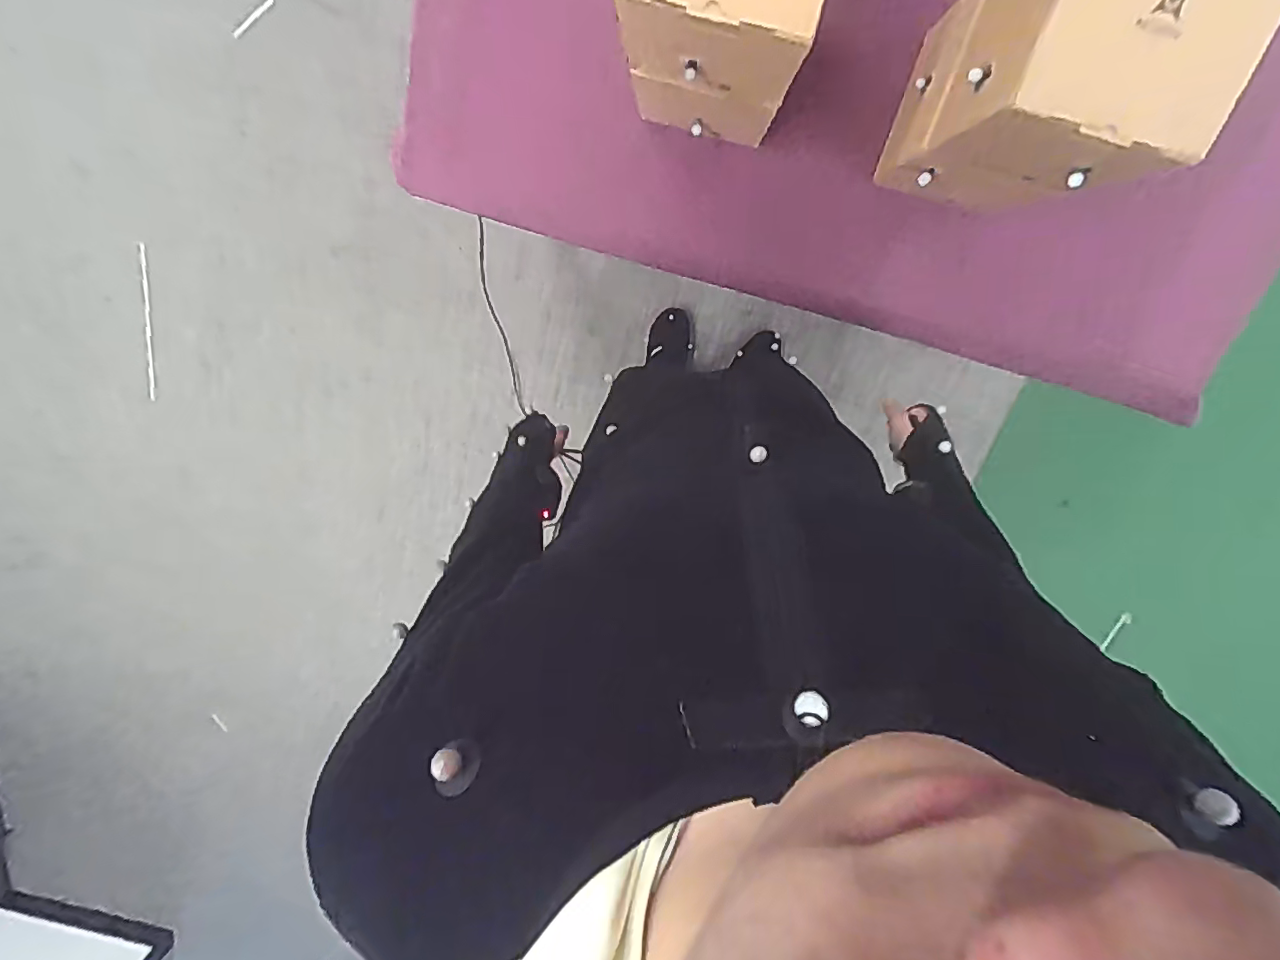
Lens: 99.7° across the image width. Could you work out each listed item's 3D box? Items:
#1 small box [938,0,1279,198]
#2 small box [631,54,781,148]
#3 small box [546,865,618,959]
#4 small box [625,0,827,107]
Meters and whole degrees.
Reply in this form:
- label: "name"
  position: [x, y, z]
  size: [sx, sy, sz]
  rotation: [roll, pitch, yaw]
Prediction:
- label: "small box"
  position: [0.399, -0.370, 0.475]
  size: [0.168, 0.176, 0.179]
  rotation: [16, 109, -2]
- label: "small box"
  position: [0.093, -0.516, 0.621]
  size: [0.168, 0.176, 0.179]
  rotation: [15, 110, 0]
- label: "small box"
  position: [-0.179, 1.381, 1.731]
  size: [0.179, 0.176, 0.168]
  rotation: [20, 110, -4]
- label: "small box"
  position: [0.082, -0.464, 0.467]
  size: [0.168, 0.176, 0.179]
  rotation: [14, 111, -1]
